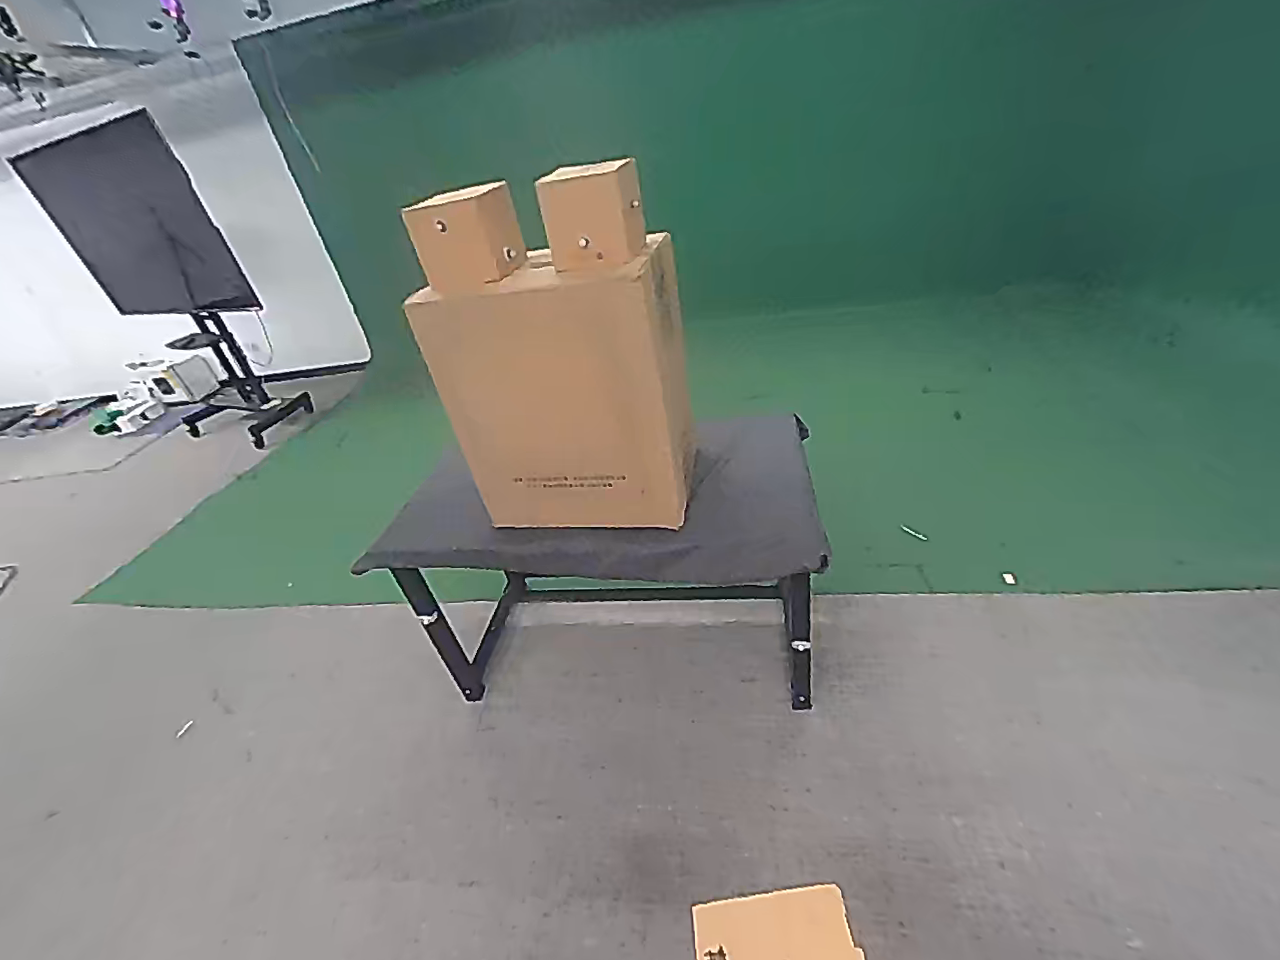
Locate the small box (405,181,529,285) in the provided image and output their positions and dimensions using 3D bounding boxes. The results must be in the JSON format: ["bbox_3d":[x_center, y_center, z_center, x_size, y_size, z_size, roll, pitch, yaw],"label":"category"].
[{"bbox_3d":[-0.370,-0.538,1.186,0.179,0.176,0.168,0,39,15],"label":"small box"}]

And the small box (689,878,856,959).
[{"bbox_3d":[0.160,0.591,0.609,0.179,0.176,0.168,-12,27,5],"label":"small box"}]

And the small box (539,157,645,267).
[{"bbox_3d":[-0.089,-0.554,1.122,0.168,0.176,0.179,0,38,14],"label":"small box"}]
